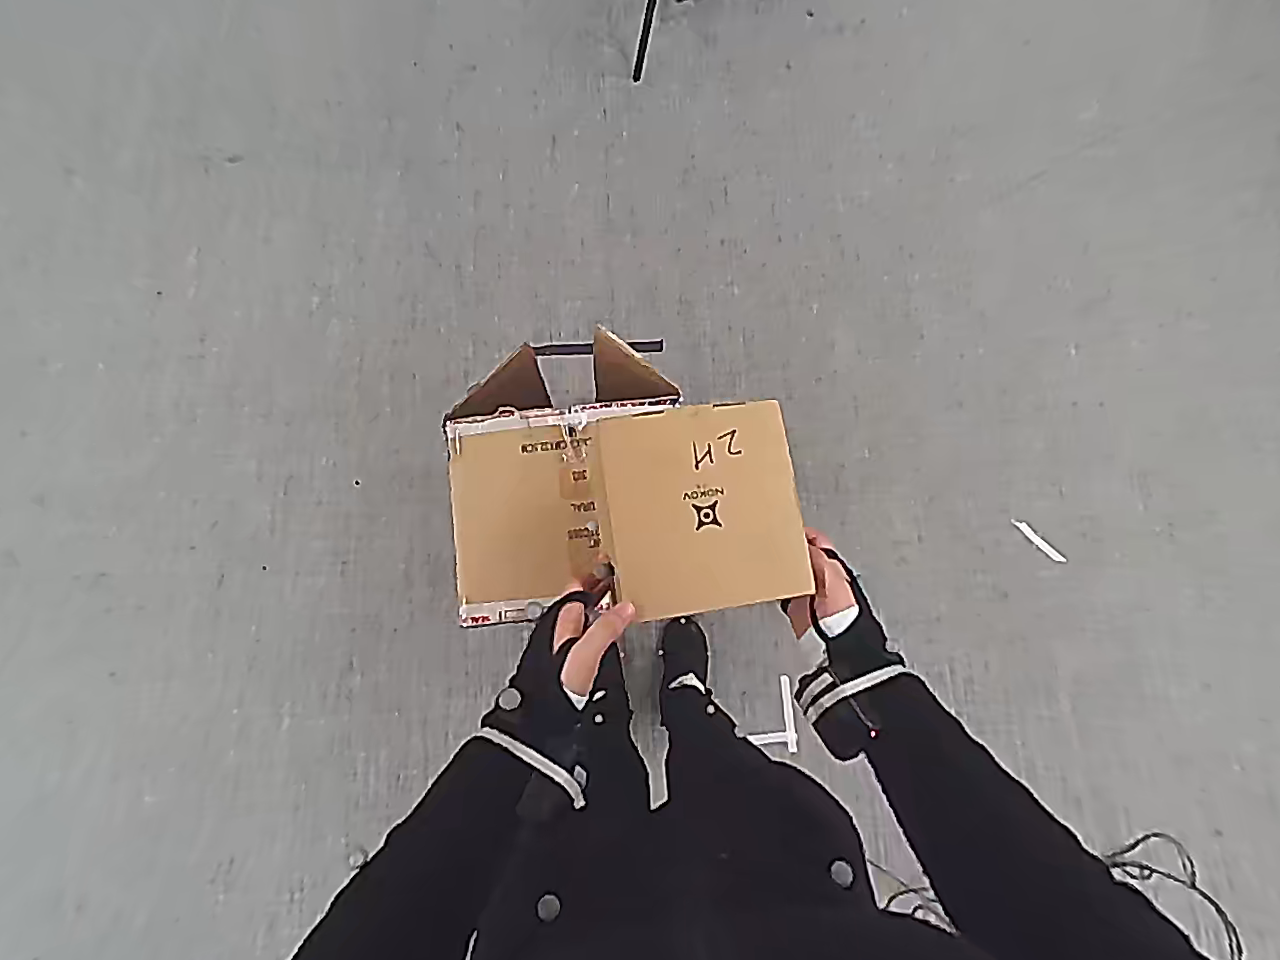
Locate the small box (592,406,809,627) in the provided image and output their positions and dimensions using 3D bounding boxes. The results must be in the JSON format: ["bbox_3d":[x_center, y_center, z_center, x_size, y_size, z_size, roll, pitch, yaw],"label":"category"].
[{"bbox_3d":[0.045,0.040,0.542,0.168,0.176,0.179,-7,81,-9],"label":"small box"}]
